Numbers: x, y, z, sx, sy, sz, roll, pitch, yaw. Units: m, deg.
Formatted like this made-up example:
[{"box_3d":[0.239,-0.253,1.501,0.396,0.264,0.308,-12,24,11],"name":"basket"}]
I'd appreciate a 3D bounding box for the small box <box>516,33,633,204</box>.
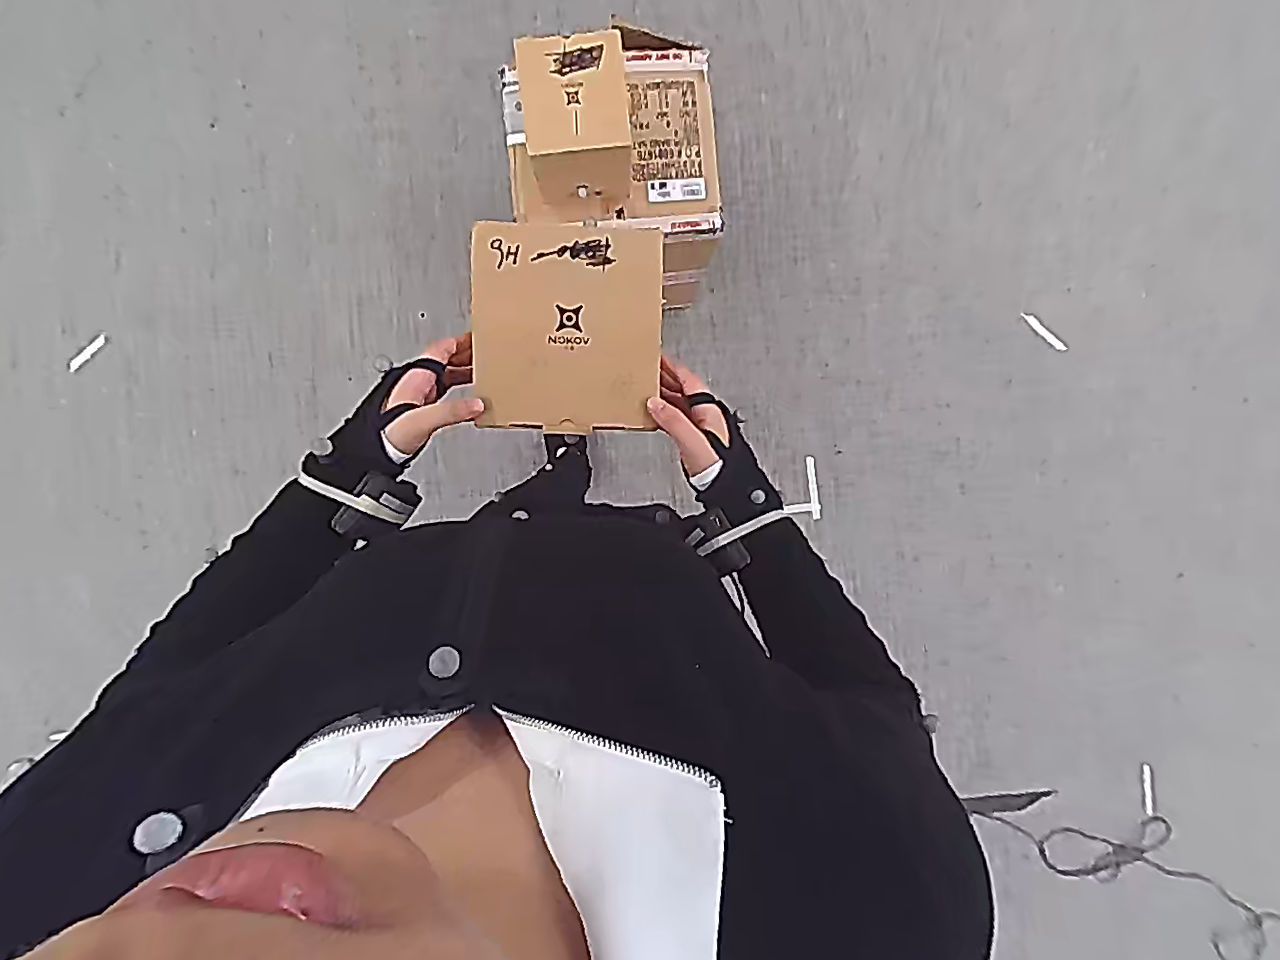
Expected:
[{"box_3d":[-0.103,-0.592,0.905,0.168,0.176,0.179,-6,94,-1],"name":"small box"}]
